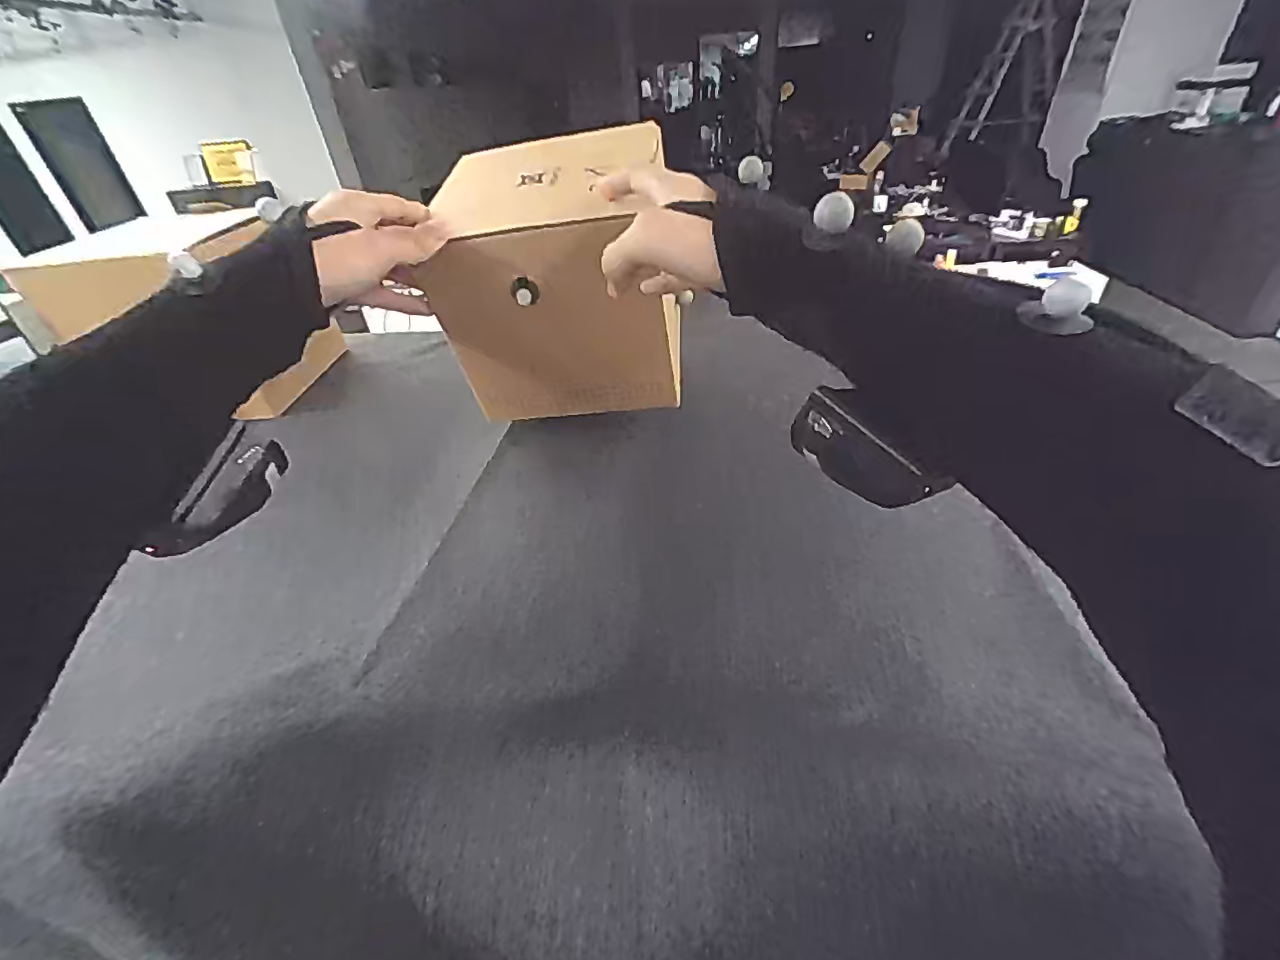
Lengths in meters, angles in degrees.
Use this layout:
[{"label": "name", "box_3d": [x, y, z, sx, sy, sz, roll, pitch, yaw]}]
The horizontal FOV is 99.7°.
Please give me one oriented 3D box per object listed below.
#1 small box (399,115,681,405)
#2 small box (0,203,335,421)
[{"label": "small box", "box_3d": [-0.062, -0.179, 0.462, 0.179, 0.176, 0.168, -3, 50, 9]}, {"label": "small box", "box_3d": [-0.455, -0.178, 0.566, 0.168, 0.176, 0.179, -5, 36, 3]}]
